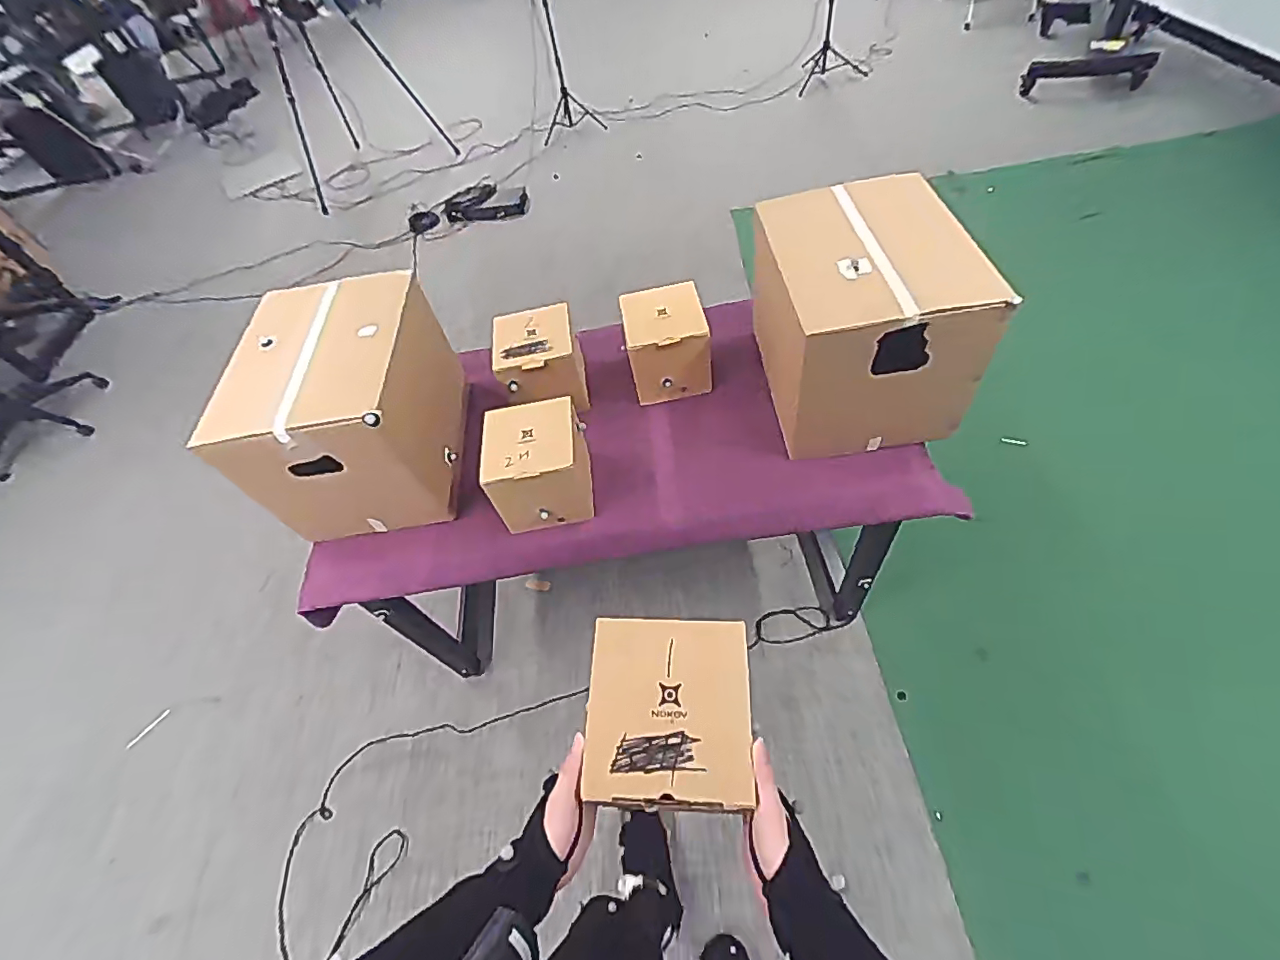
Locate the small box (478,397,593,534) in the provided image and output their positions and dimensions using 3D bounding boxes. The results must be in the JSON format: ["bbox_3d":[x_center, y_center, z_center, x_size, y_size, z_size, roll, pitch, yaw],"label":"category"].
[{"bbox_3d":[-0.189,-0.025,1.014,0.168,0.176,0.179,-11,53,3],"label":"small box"}]

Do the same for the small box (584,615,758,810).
[{"bbox_3d":[0.037,0.266,0.609,0.168,0.176,0.179,0,56,4],"label":"small box"}]

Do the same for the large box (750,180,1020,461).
[{"bbox_3d":[0.407,-0.299,1.032,0.320,0.320,0.408,-9,54,5],"label":"large box"}]
